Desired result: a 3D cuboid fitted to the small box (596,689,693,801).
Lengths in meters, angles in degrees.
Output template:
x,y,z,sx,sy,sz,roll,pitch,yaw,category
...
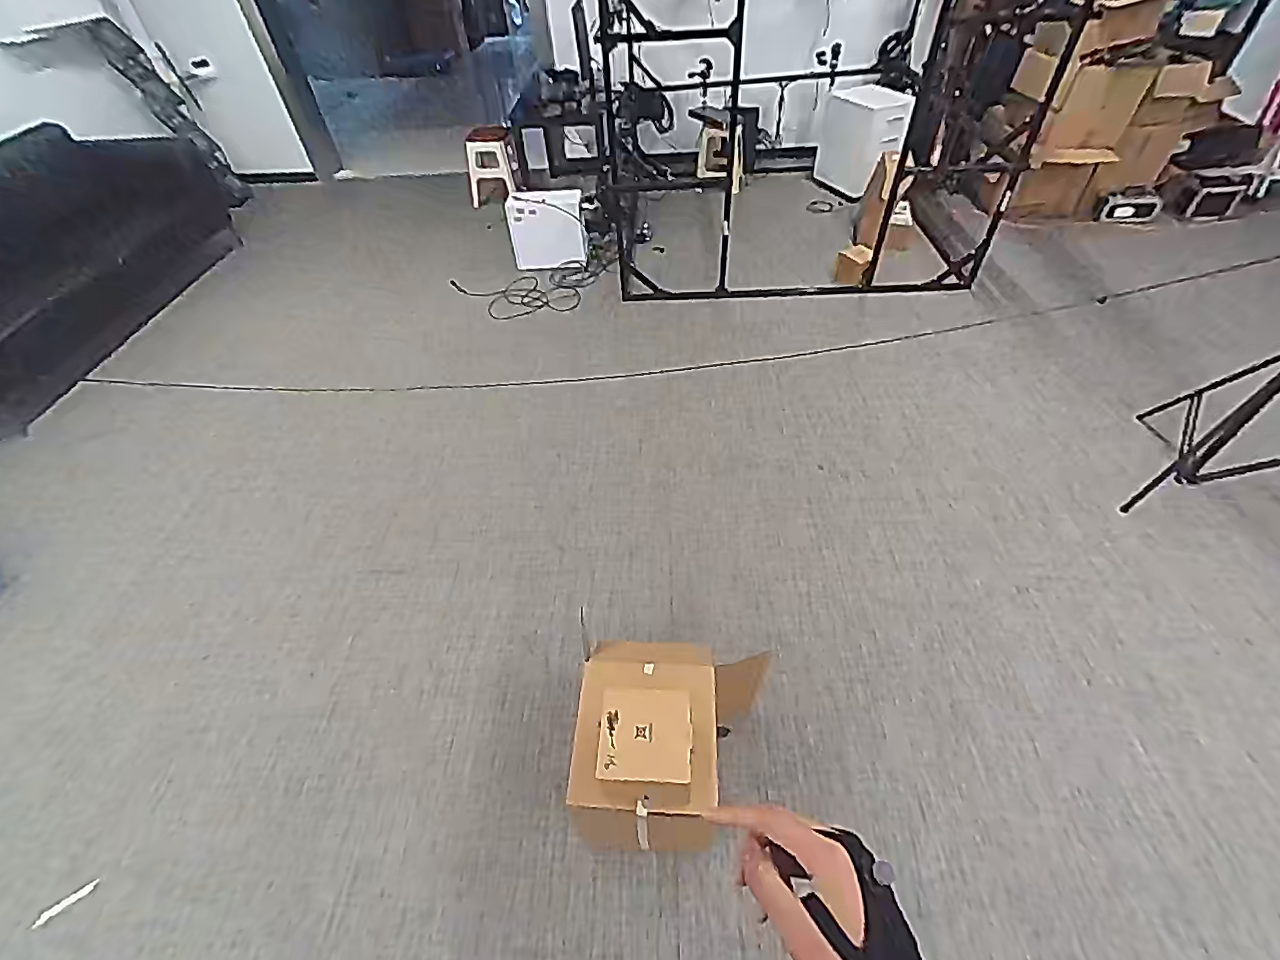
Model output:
x,y,z,sx,sy,sz,roll,pitch,yaw,category
0.014,0.538,1.092,0.179,0.176,0.168,2,49,4,small box
